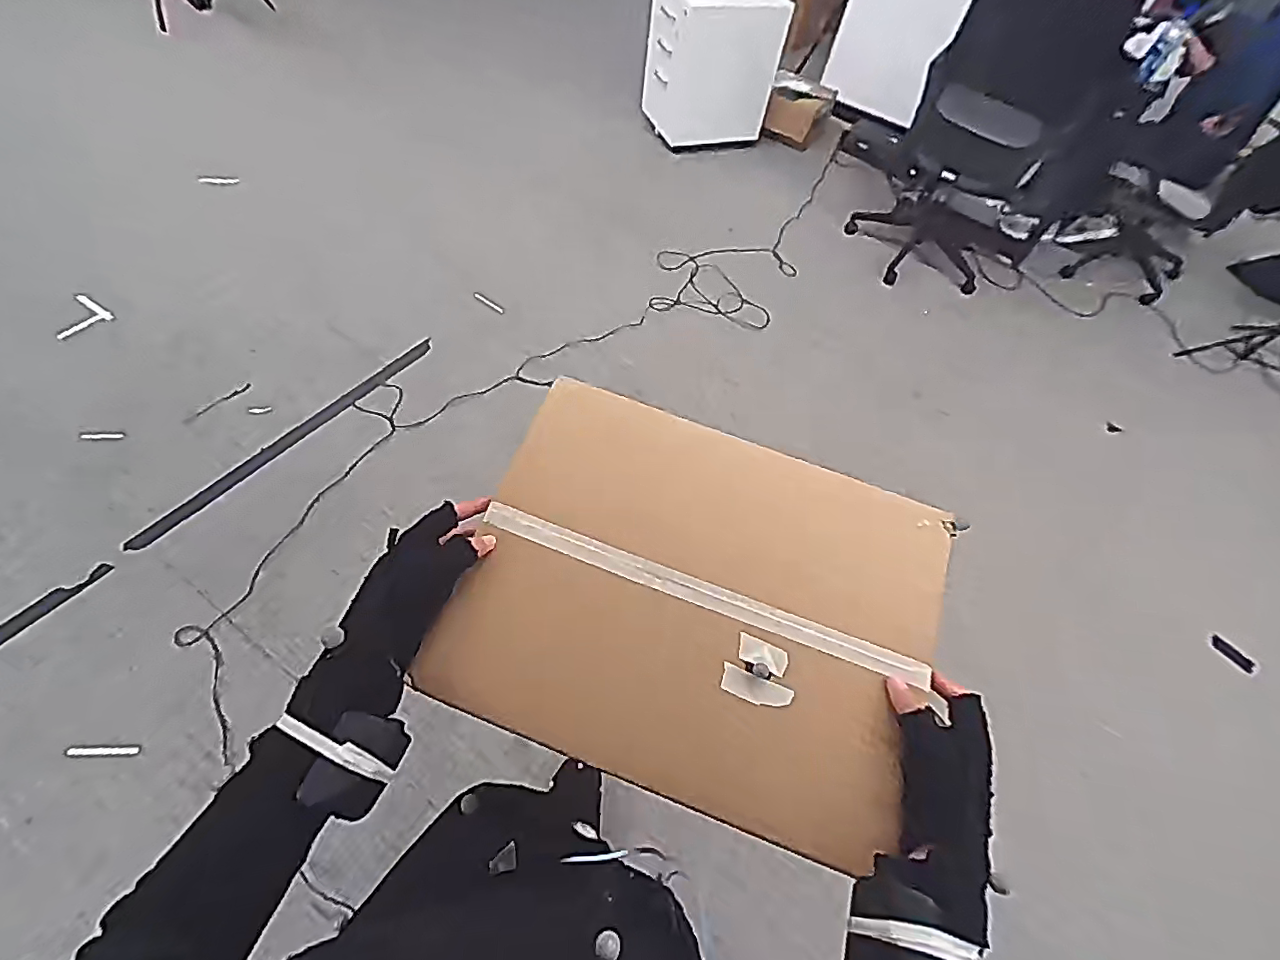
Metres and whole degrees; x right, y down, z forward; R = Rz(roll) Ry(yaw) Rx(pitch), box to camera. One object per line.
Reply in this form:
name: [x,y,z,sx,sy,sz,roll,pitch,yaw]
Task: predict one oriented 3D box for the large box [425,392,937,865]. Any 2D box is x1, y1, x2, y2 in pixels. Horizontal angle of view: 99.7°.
large box: [0.045,0.158,0.628,0.408,0.320,0.320,21,70,5]
